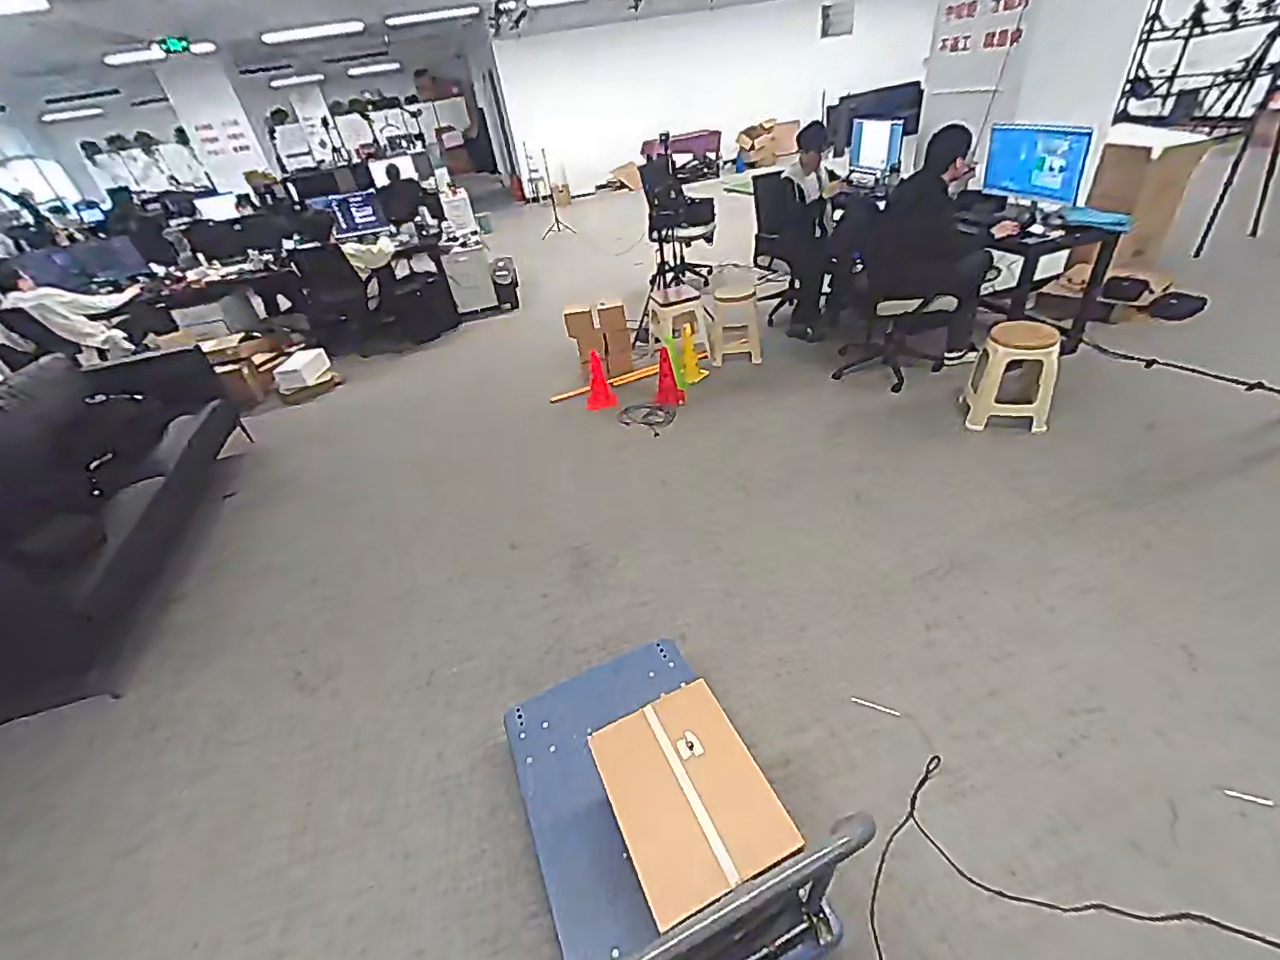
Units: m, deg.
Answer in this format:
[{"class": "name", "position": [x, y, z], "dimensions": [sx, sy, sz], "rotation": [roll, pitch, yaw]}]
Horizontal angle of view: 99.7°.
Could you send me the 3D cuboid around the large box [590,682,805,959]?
[{"class": "large box", "position": [0.126, 0.765, 1.232], "dimensions": [0.320, 0.320, 0.408], "rotation": [-21, 38, -15]}]
